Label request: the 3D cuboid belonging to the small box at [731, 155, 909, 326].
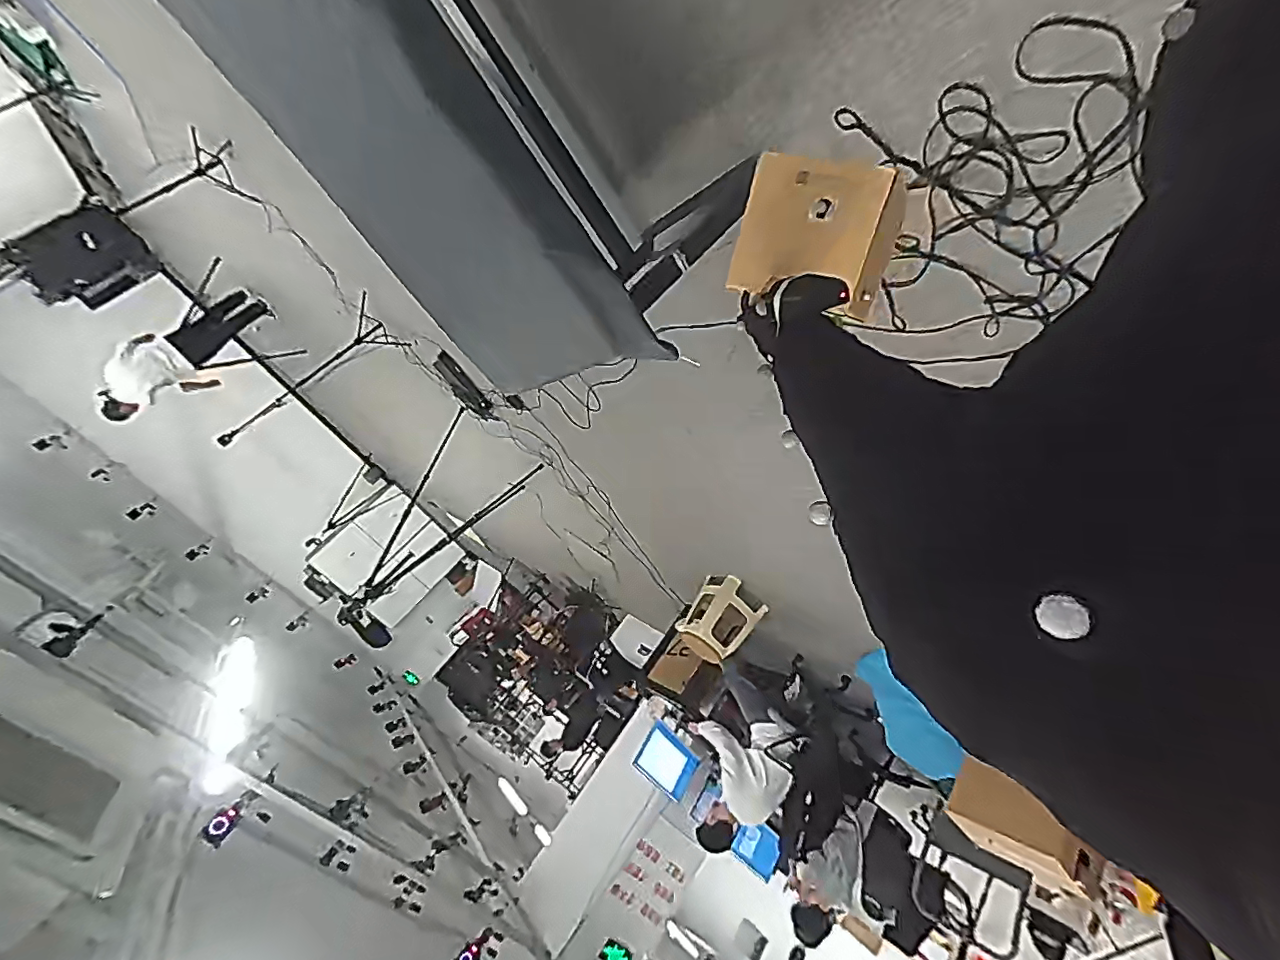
[{"bbox_3d":[0.249,-0.318,0.738,0.168,0.179,0.176,23,112,25],"label":"small box"}]
